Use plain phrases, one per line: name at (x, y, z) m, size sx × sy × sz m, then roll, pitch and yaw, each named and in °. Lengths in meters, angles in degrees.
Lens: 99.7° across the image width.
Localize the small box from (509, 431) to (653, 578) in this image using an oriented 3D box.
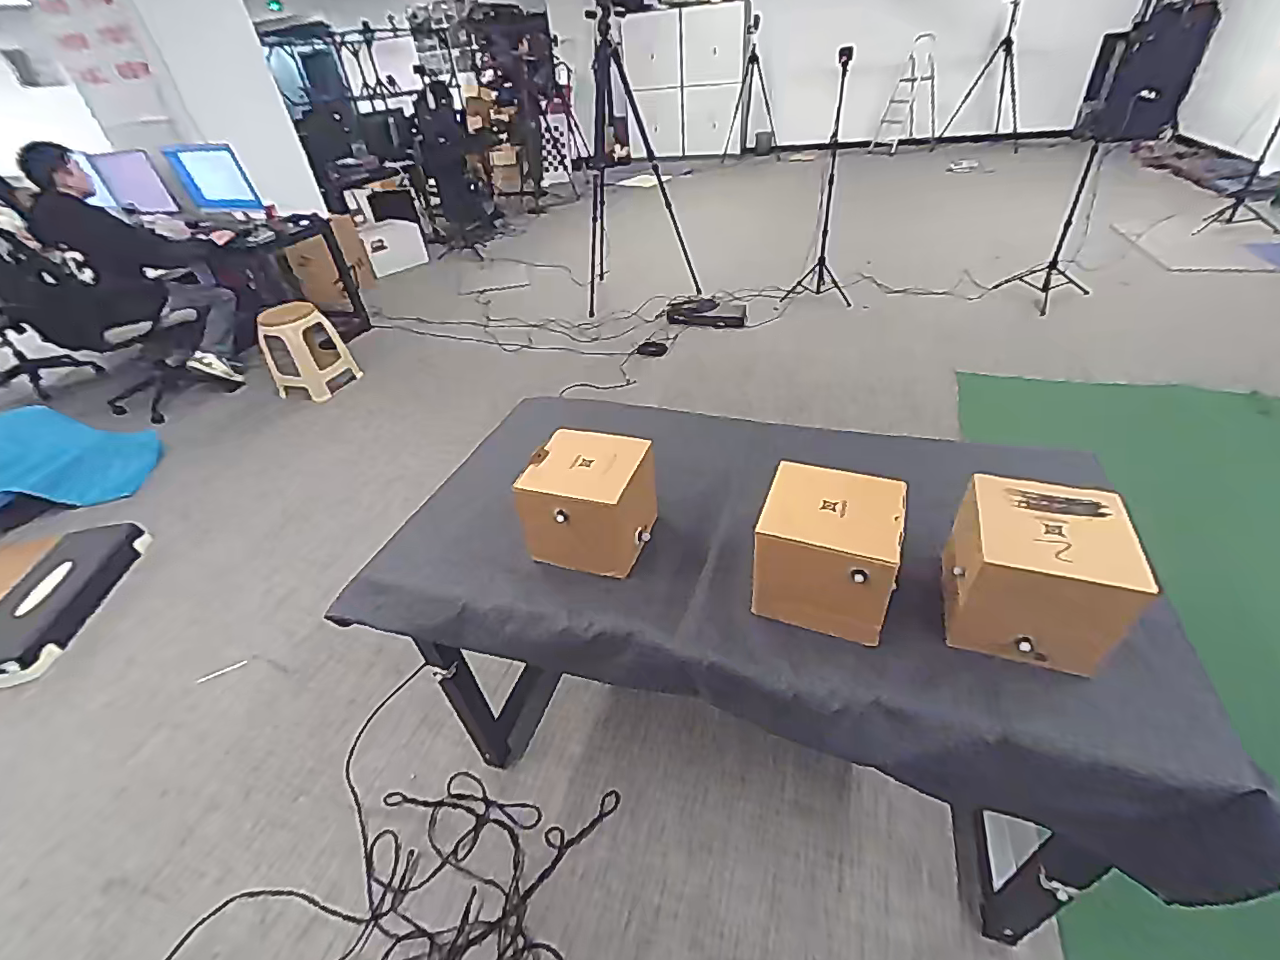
small box at (-0.087, 0.041, 0.897) m, size 0.179 × 0.176 × 0.168 m, roll 10°, pitch 41°, yaw 17°

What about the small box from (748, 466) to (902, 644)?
small box at (0.258, 0.105, 0.770) m, size 0.179 × 0.176 × 0.168 m, roll 12°, pitch 40°, yaw 21°
